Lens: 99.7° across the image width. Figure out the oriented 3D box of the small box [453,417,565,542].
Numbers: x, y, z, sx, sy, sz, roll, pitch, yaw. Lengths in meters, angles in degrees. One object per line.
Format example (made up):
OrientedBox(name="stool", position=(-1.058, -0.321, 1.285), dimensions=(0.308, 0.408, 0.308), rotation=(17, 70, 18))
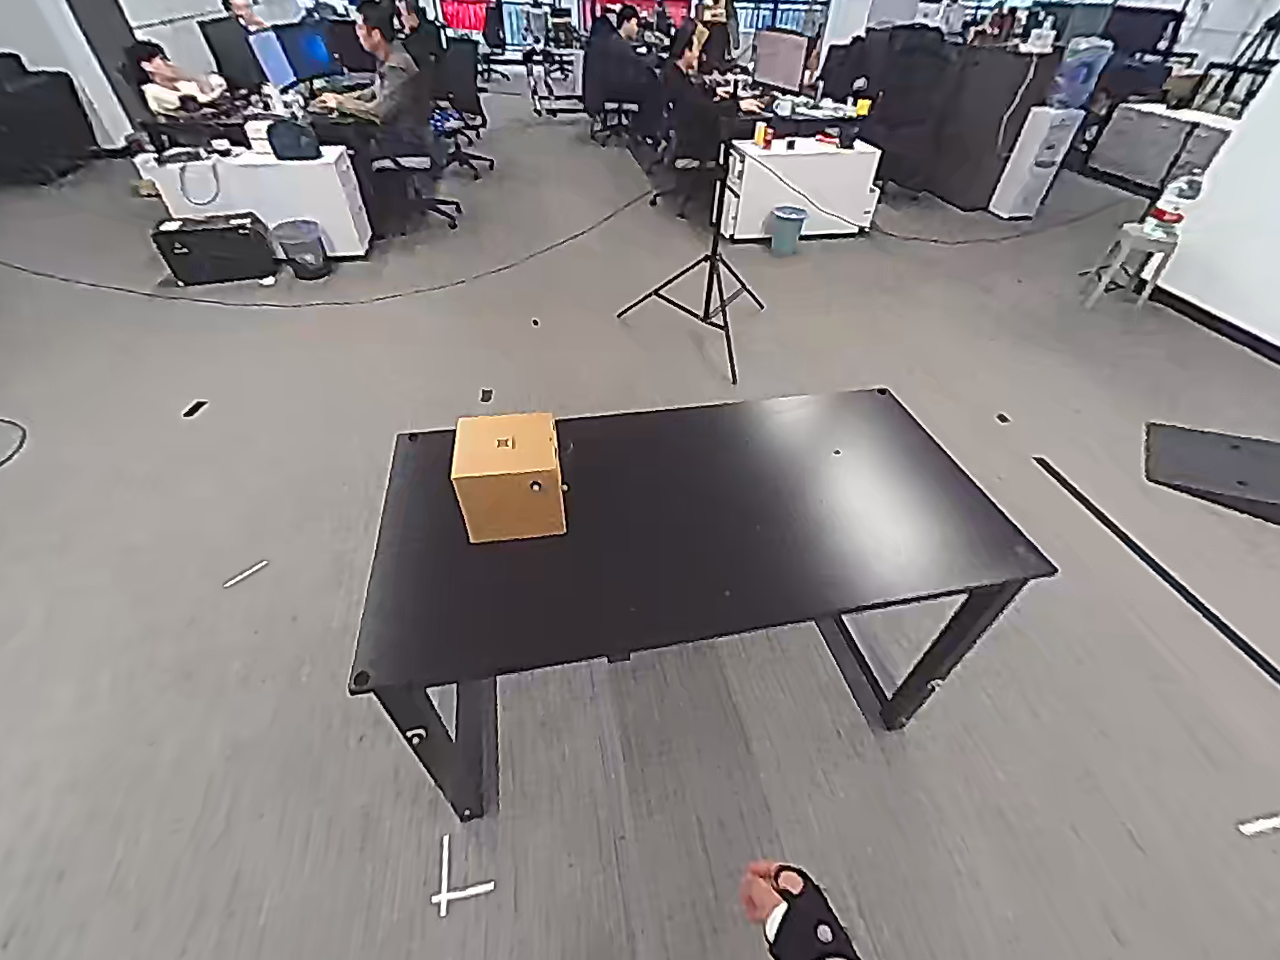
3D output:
OrientedBox(name="small box", position=(-0.238, 0.002, 1.015), dimensions=(0.179, 0.176, 0.168), rotation=(-5, 44, -9))
